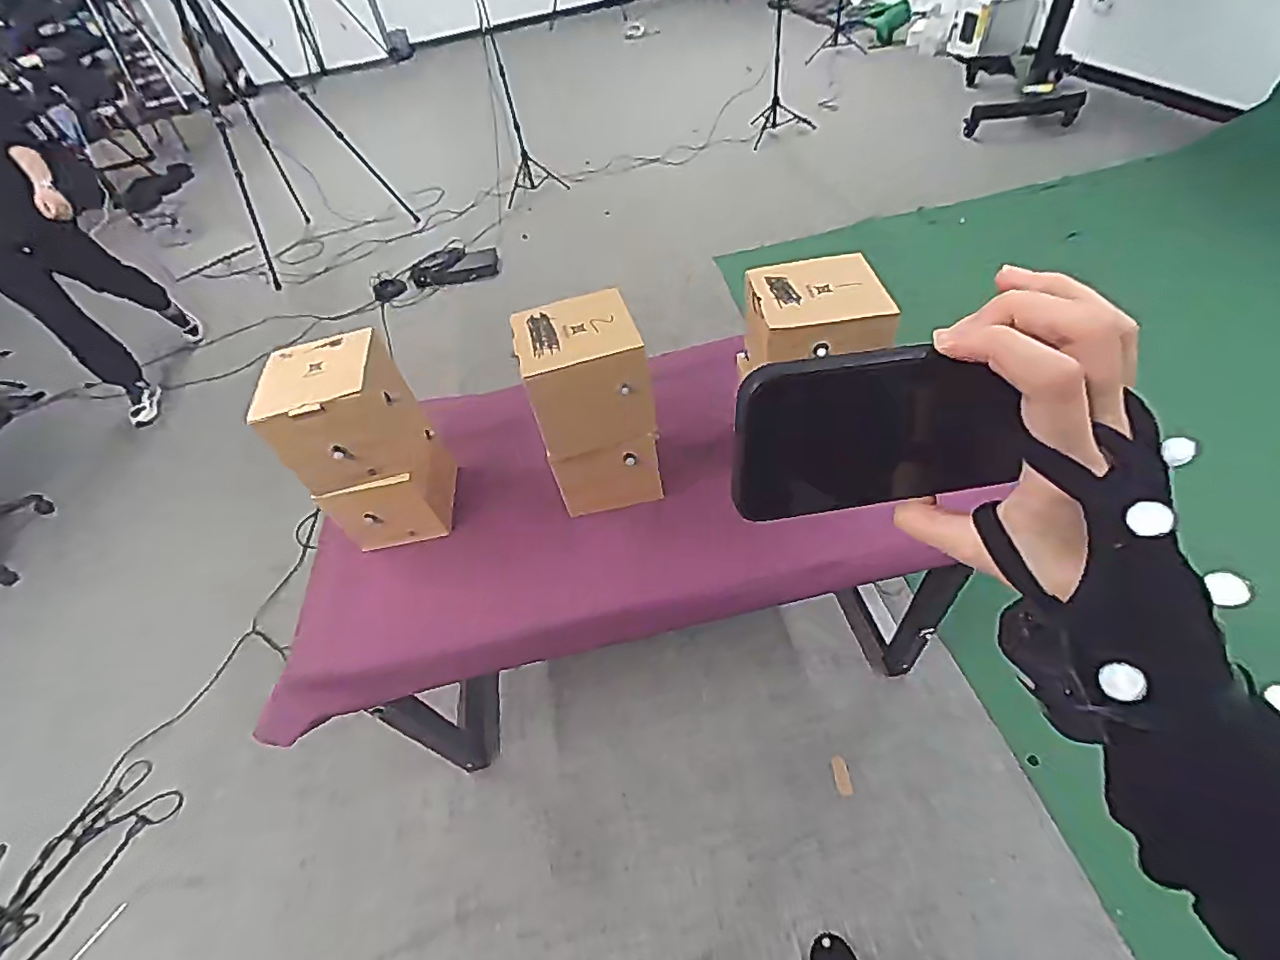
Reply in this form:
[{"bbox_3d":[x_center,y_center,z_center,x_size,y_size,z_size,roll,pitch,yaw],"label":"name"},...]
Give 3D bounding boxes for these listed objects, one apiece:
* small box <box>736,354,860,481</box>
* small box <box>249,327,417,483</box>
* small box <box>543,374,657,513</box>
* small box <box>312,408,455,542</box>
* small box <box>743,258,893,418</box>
[{"bbox_3d":[0.268,-0.116,0.962,0.179,0.176,0.168,-7,49,5],"label":"small box"},{"bbox_3d":[-0.477,-0.113,0.872,0.168,0.176,0.179,-14,50,-3],"label":"small box"},{"bbox_3d":[-0.068,-0.062,0.973,0.179,0.176,0.168,-11,49,1],"label":"small box"},{"bbox_3d":[-0.454,-0.001,0.991,0.168,0.176,0.179,-11,49,1],"label":"small box"},{"bbox_3d":[0.257,-0.211,0.828,0.179,0.176,0.168,-6,49,4],"label":"small box"}]
